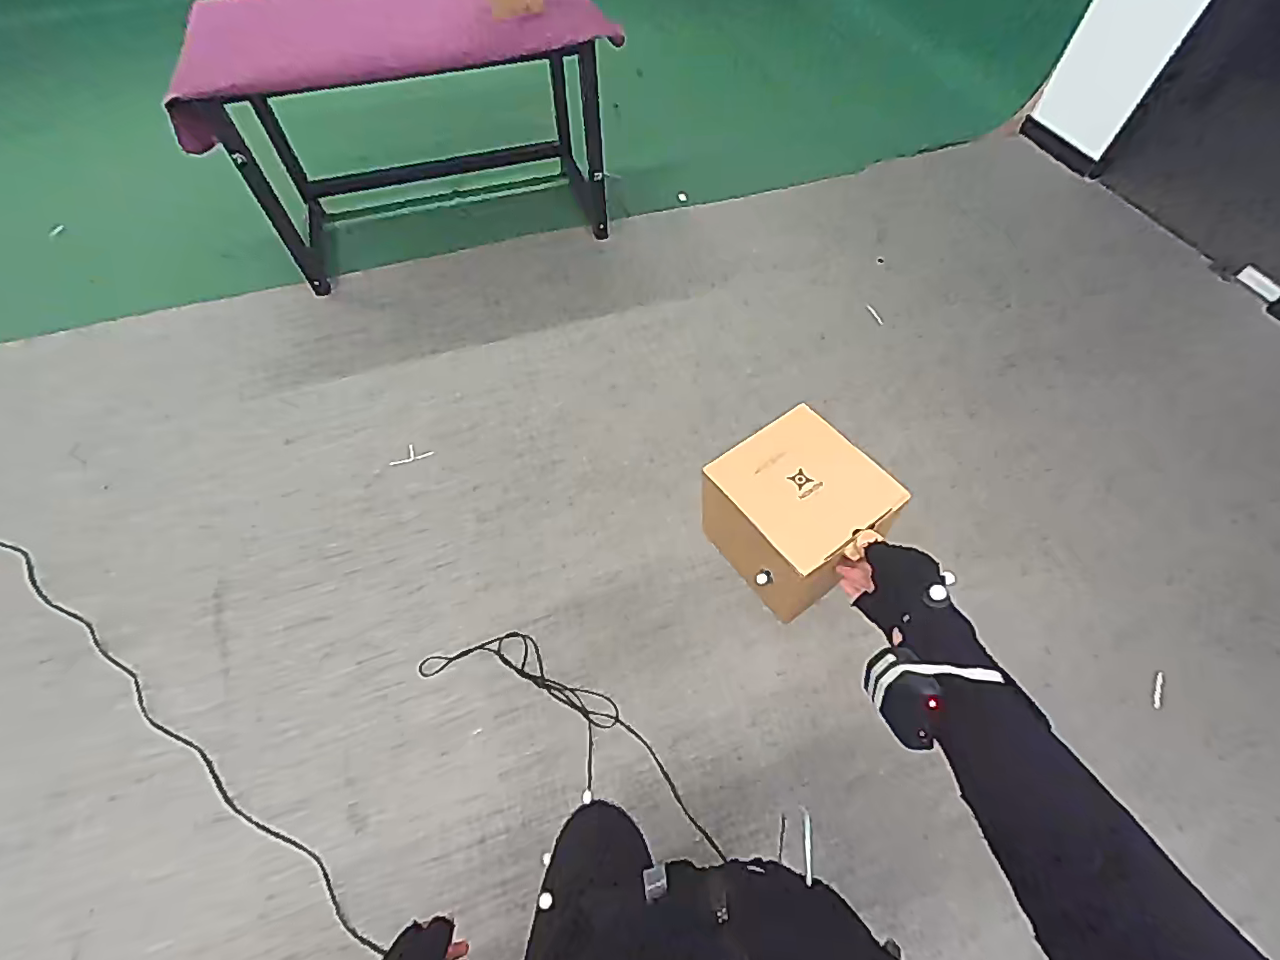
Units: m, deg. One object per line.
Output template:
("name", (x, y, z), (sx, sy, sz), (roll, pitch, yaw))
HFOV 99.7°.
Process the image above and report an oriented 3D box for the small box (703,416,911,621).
("small box", (0.198, 0.059, 0.692), (0.168, 0.176, 0.179), (-32, 59, -13))
